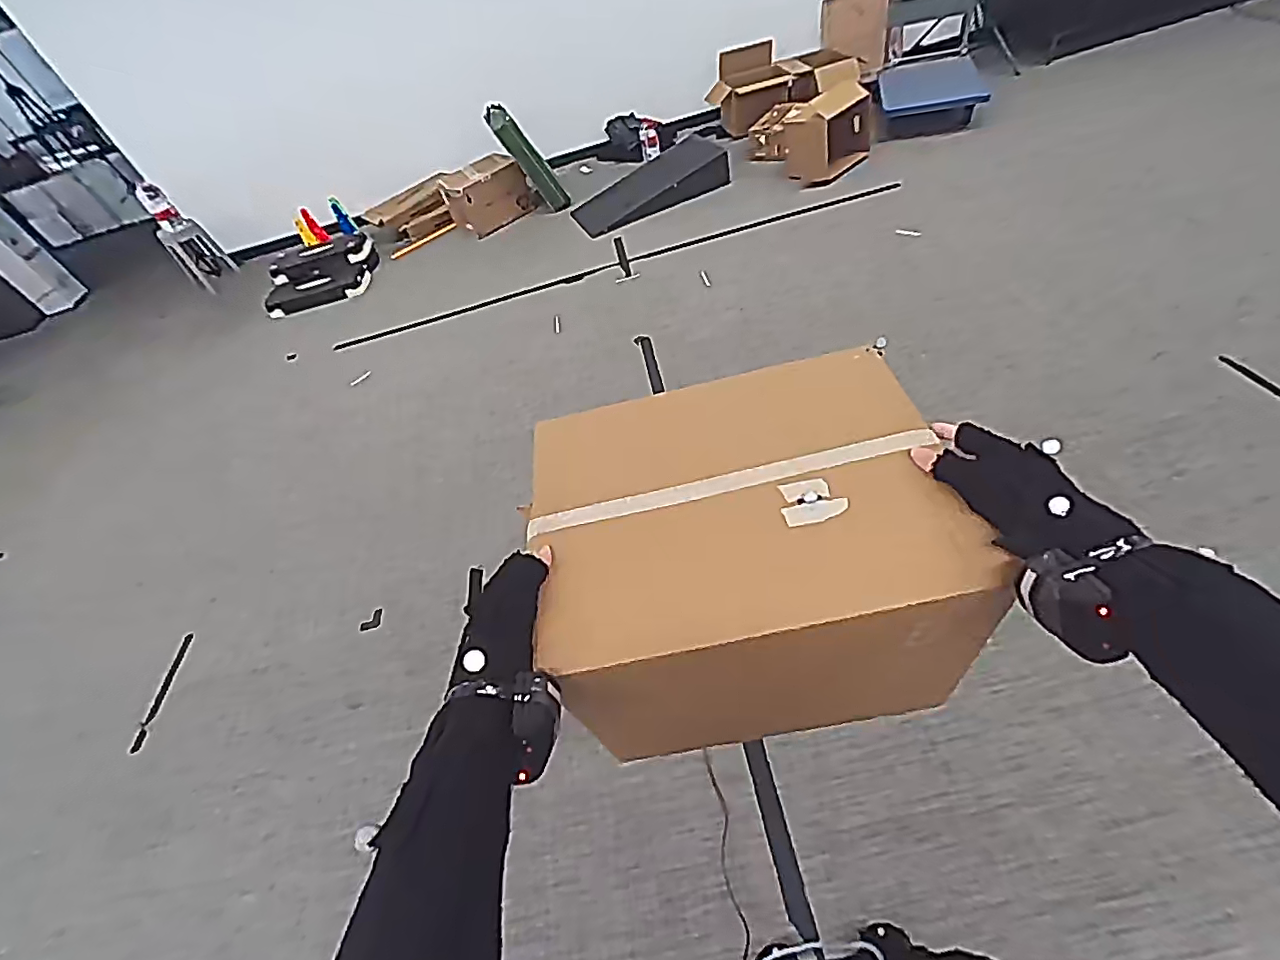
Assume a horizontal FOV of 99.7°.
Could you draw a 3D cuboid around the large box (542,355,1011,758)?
[{"bbox_3d":[0.120,0.104,0.659,0.408,0.320,0.320,-13,50,3],"label":"large box"}]
